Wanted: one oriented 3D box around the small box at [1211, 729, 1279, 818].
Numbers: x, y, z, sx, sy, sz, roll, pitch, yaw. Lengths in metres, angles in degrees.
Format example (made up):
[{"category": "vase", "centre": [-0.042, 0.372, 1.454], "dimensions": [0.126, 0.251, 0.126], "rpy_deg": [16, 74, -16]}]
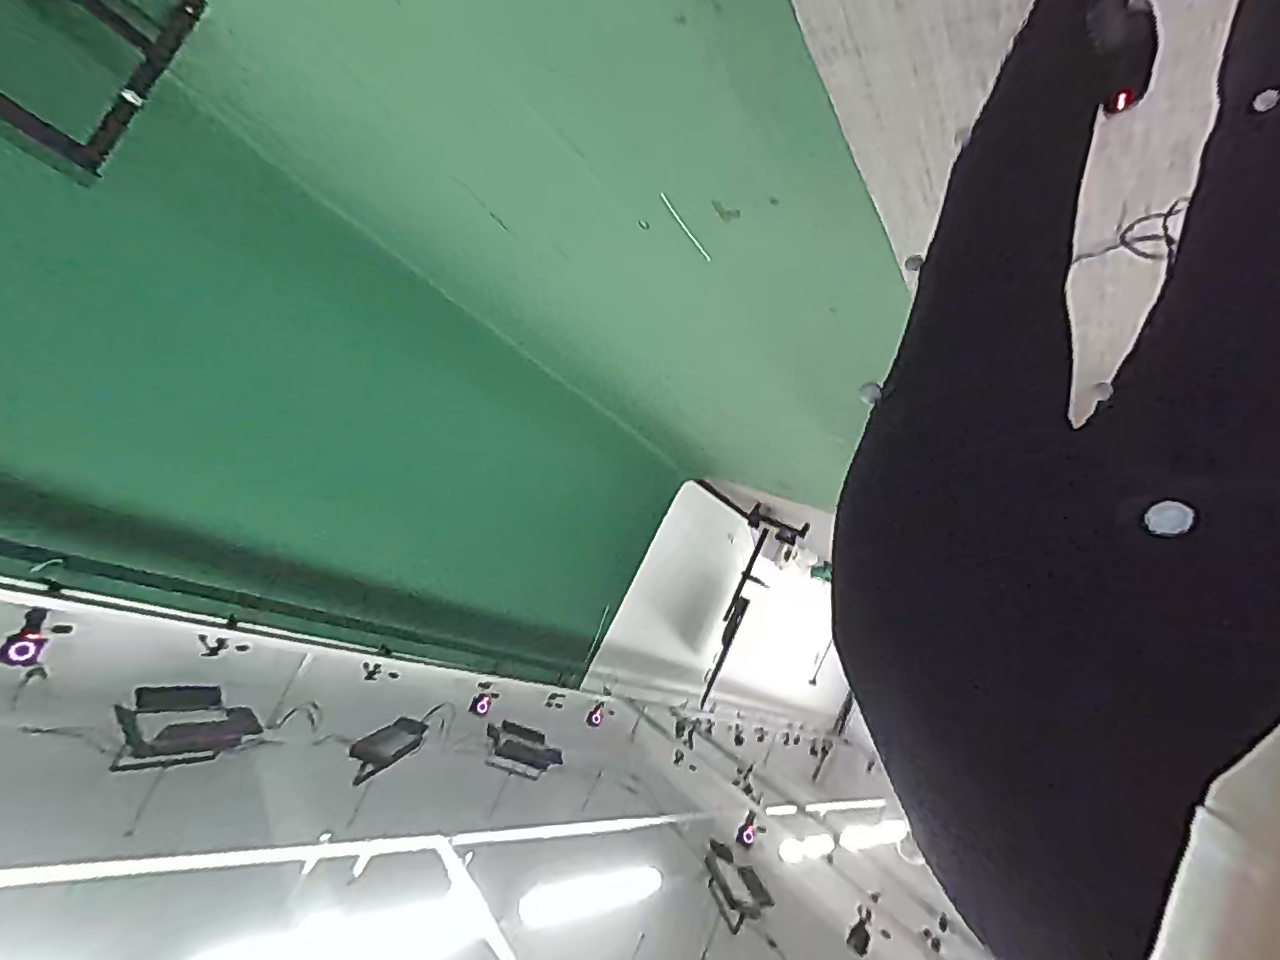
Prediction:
[{"category": "small box", "centre": [1.623, 0.765, 1.394], "dimensions": [0.168, 0.176, 0.179], "rpy_deg": [21, 172, 47]}]
